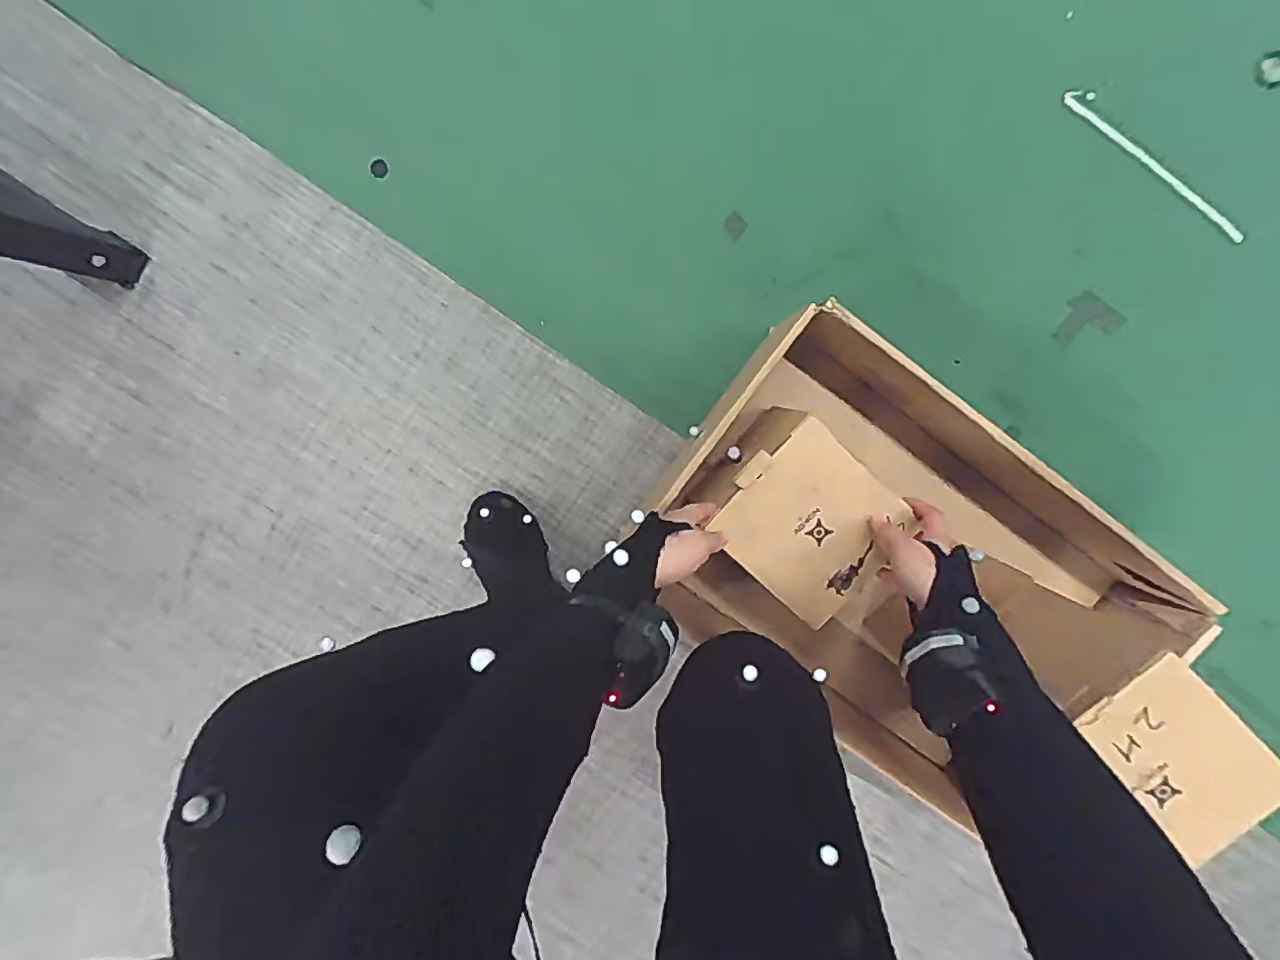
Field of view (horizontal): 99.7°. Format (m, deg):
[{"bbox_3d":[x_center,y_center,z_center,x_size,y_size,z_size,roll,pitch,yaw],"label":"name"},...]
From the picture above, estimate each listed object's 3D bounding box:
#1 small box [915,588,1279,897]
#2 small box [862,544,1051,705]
[{"bbox_3d":[0.420,0.237,0.531,0.179,0.176,0.168,44,96,-6],"label":"small box"},{"bbox_3d":[0.424,0.208,0.692,0.168,0.176,0.179,44,97,-5],"label":"small box"}]
